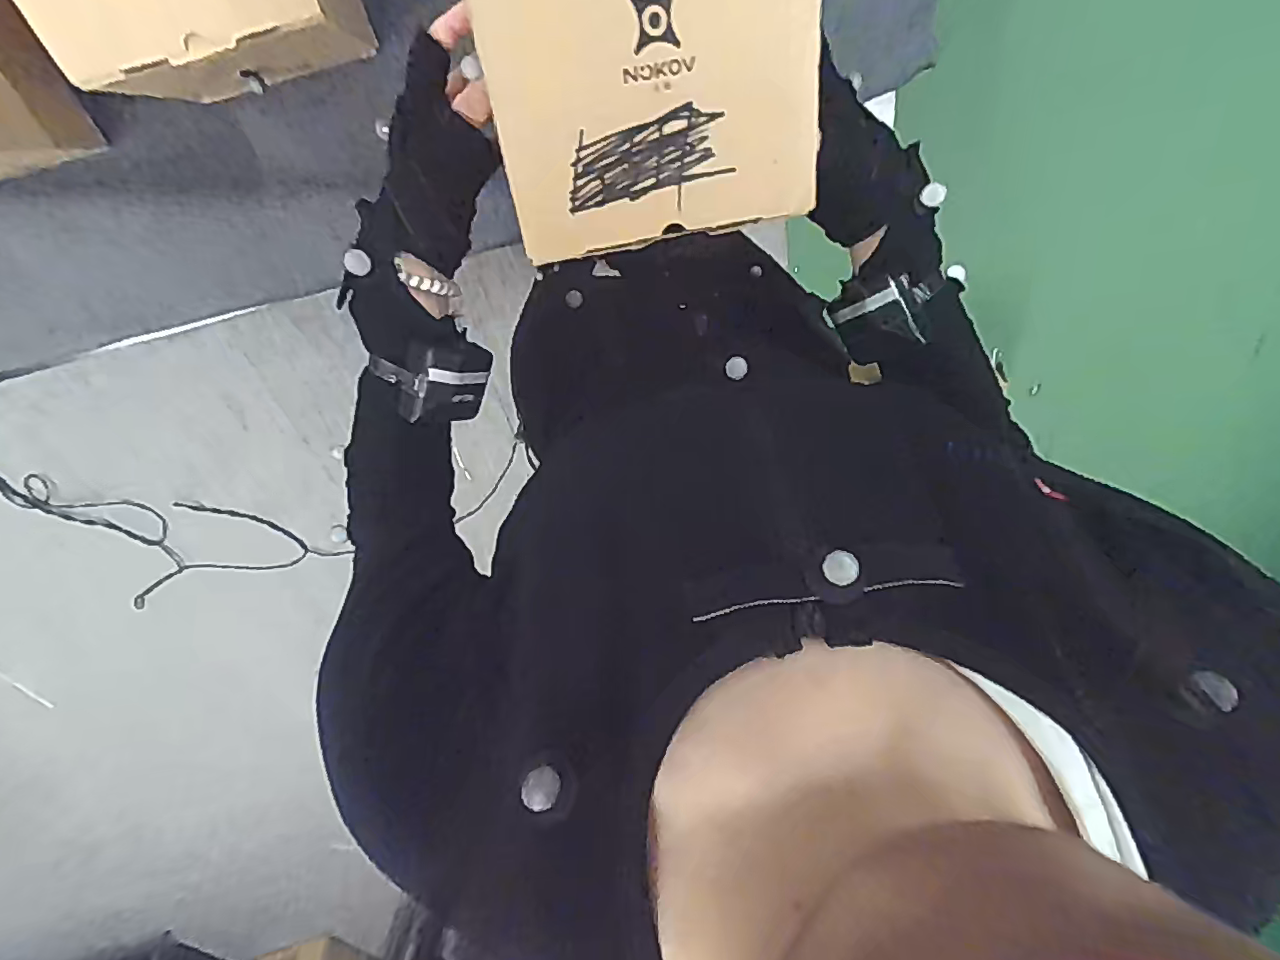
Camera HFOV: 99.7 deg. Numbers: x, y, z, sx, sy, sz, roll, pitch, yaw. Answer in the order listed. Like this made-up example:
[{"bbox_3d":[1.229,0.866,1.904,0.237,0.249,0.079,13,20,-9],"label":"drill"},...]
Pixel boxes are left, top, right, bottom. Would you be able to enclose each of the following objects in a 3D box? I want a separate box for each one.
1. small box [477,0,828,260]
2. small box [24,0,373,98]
[{"bbox_3d":[-0.001,-0.251,0.324,0.168,0.176,0.179,-12,124,-4],"label":"small box"},{"bbox_3d":[-0.310,-0.382,0.362,0.168,0.176,0.179,-18,126,-2],"label":"small box"}]
